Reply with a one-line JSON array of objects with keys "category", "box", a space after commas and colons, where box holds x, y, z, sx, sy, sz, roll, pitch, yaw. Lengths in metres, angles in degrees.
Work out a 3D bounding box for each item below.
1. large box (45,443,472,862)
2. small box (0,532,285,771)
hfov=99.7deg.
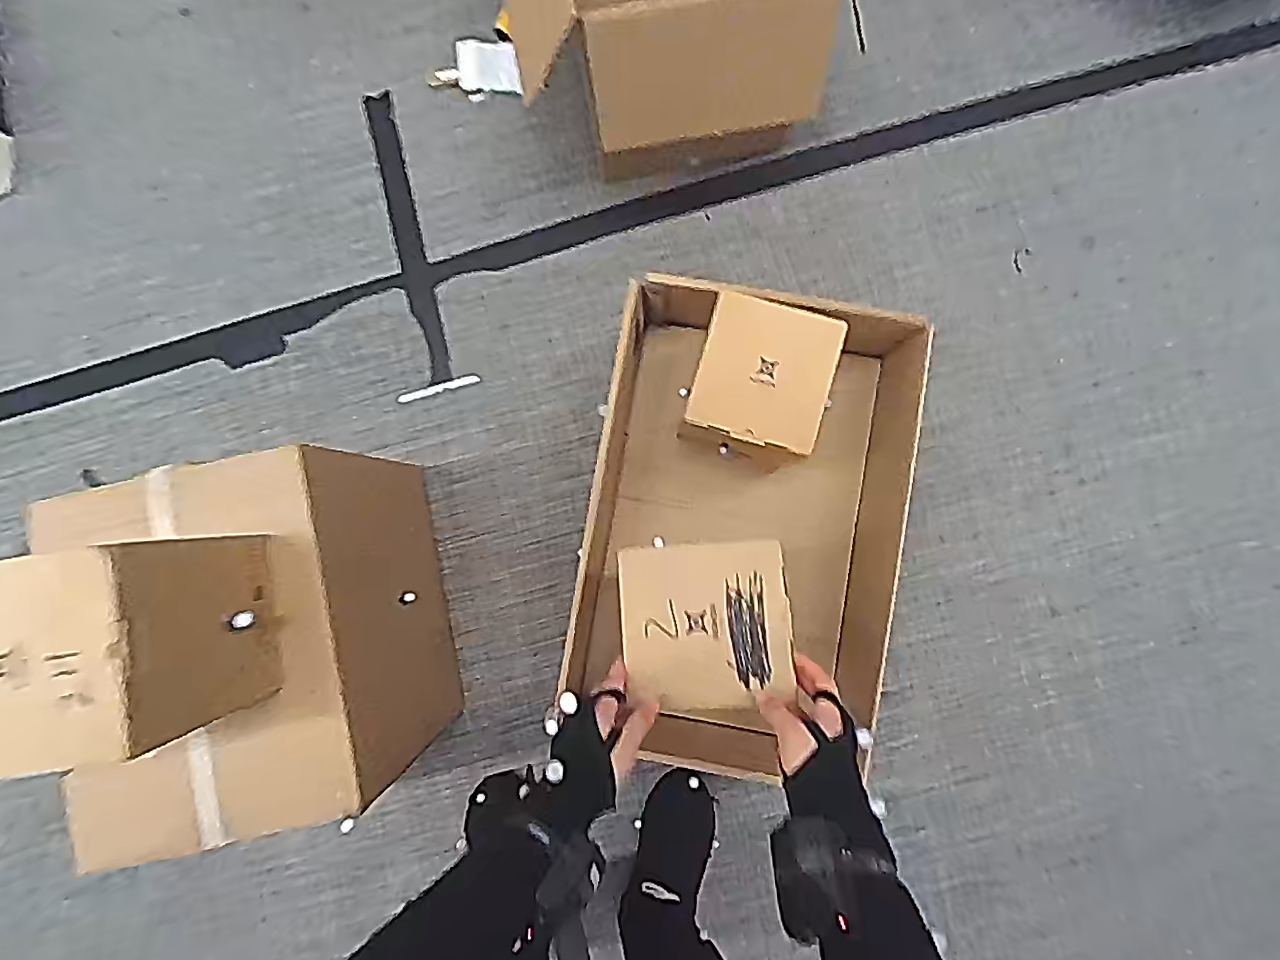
[{"category": "large box", "box": [-0.463, 0.191, 0.735, 0.320, 0.320, 0.408, -13, 87, 2]}, {"category": "small box", "box": [-0.468, 0.141, 0.491, 0.179, 0.176, 0.168, -9, 87, 1]}]
